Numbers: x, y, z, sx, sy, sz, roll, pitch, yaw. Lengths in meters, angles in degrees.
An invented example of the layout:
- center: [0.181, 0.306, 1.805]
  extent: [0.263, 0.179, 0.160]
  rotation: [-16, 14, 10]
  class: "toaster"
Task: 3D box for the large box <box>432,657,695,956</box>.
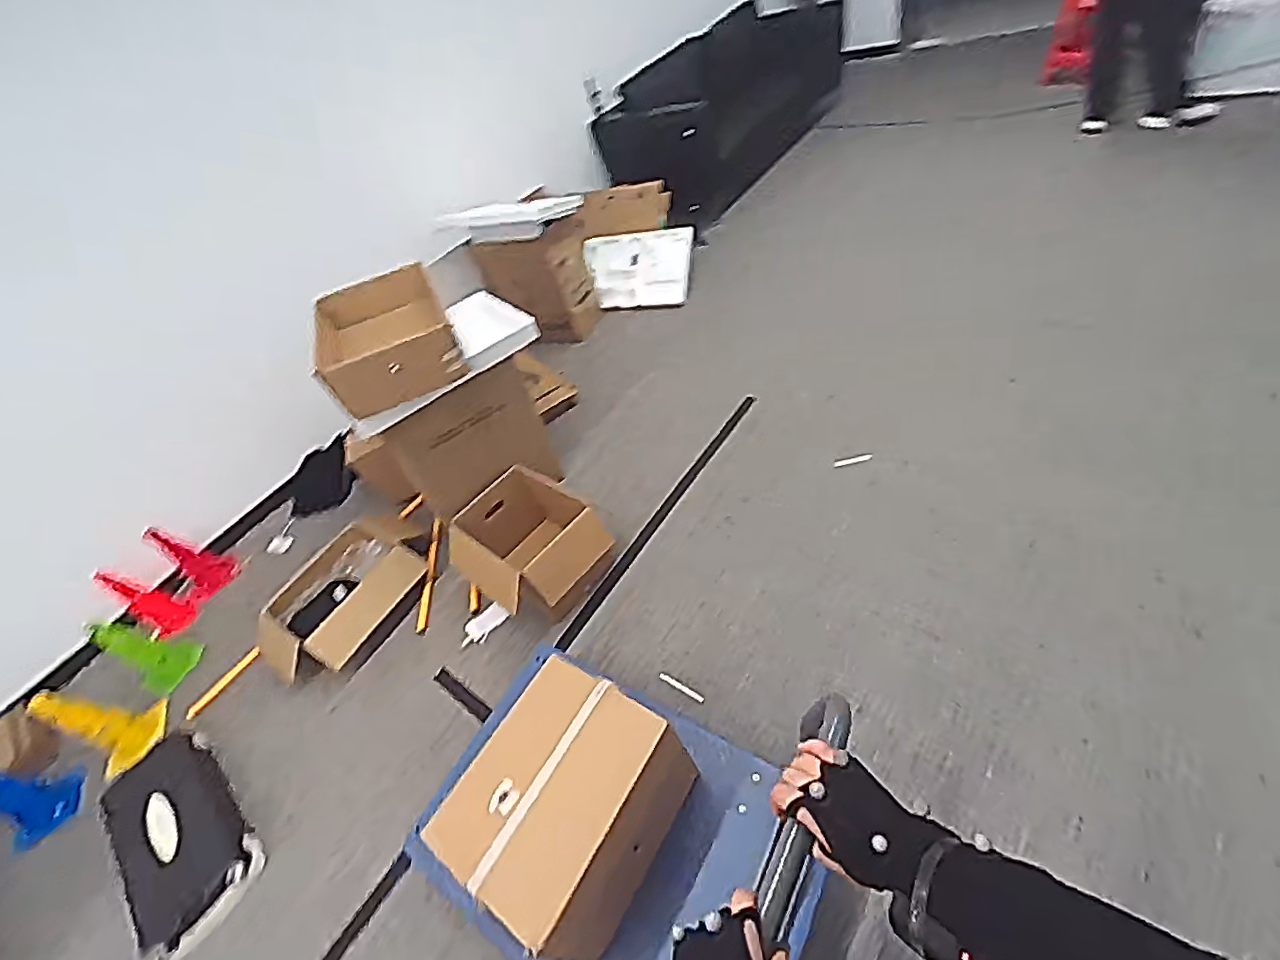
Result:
- center: [-0.129, 0.664, 1.128]
  extent: [0.320, 0.320, 0.408]
  rotation: [16, 56, 33]
  class: "large box"
